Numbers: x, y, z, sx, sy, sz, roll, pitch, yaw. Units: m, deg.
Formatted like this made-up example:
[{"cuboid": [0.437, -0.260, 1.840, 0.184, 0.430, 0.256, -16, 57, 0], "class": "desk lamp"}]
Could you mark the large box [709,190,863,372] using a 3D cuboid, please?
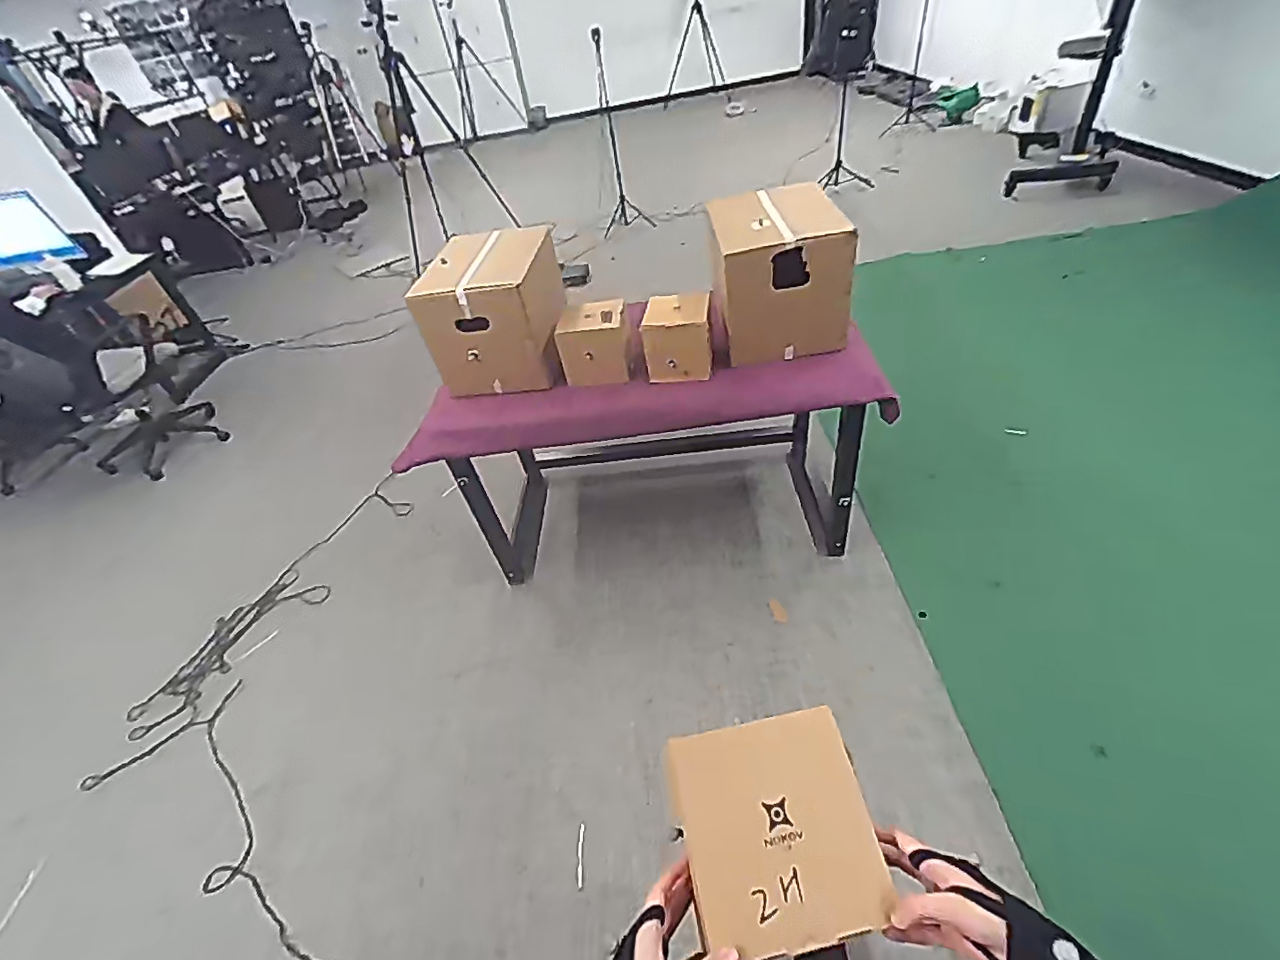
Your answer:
[{"cuboid": [0.380, -0.553, 1.492, 0.320, 0.320, 0.408, -9, 43, 7], "class": "large box"}]

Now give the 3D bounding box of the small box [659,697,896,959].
[{"cuboid": [0.116, 0.341, 0.549, 0.168, 0.176, 0.179, -9, 59, -6], "class": "small box"}]
